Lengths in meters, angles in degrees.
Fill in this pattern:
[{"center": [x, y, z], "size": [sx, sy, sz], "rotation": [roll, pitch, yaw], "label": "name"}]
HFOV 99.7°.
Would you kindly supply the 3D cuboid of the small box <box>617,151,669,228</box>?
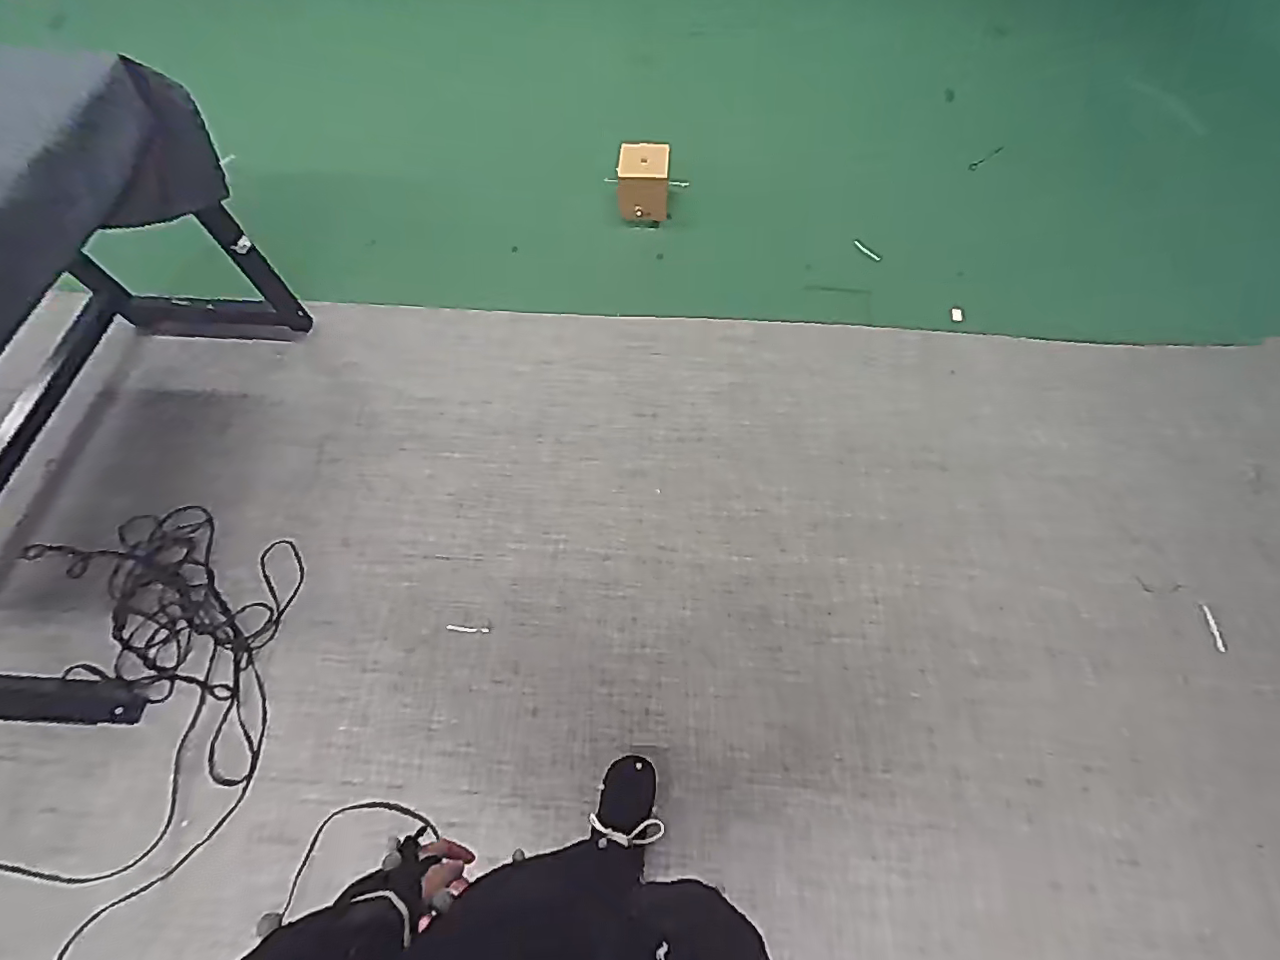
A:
[{"center": [0.011, -1.010, 1.883], "size": [0.168, 0.176, 0.179], "rotation": [2, 64, 2], "label": "small box"}]
